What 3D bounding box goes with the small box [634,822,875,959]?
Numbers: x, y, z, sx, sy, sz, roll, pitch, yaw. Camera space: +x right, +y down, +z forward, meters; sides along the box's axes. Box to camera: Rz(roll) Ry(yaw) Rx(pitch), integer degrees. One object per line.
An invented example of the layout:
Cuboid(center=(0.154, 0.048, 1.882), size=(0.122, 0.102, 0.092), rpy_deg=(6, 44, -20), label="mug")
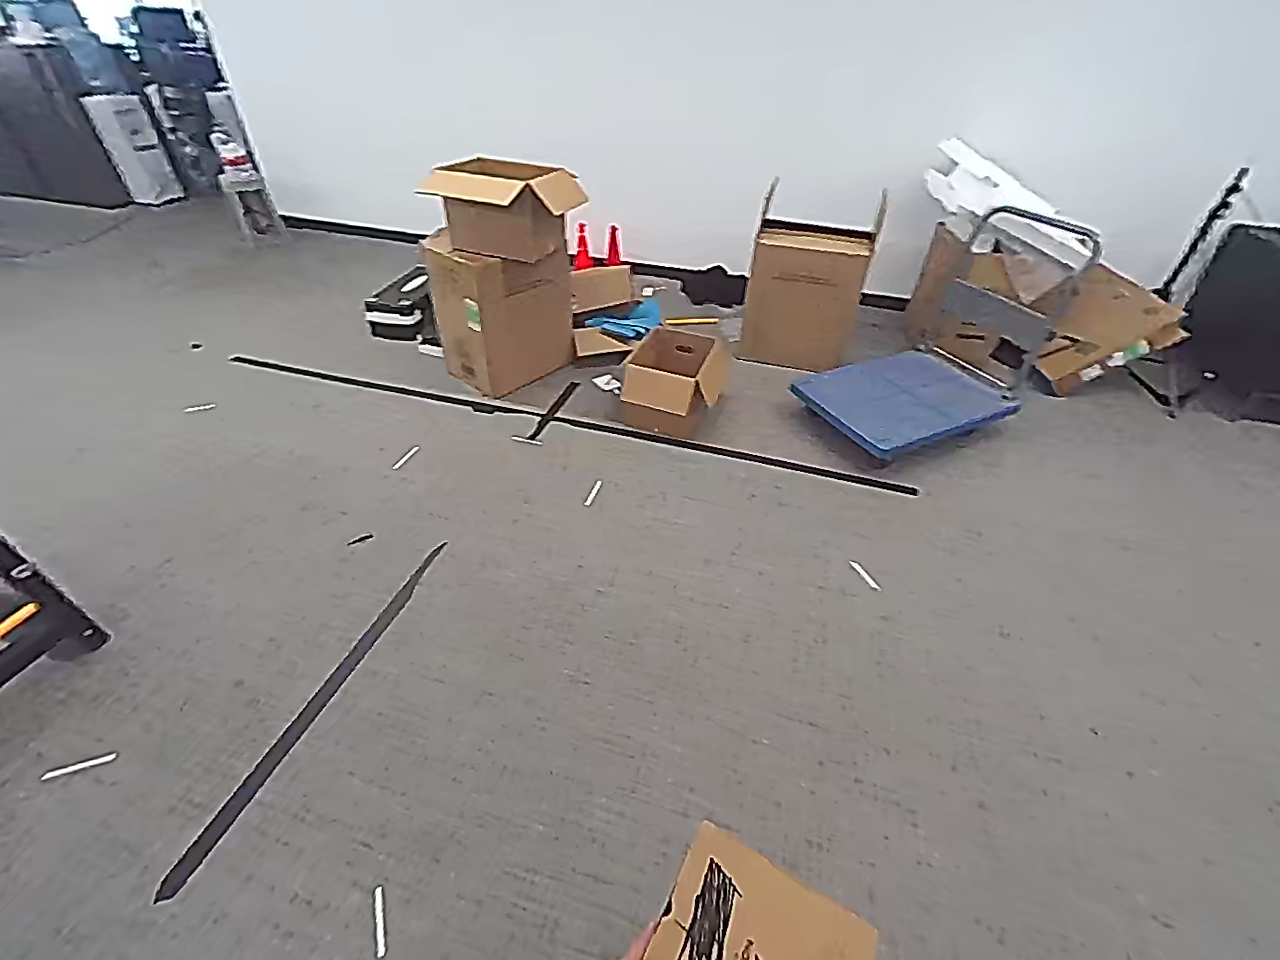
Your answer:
Cuboid(center=(0.097, 0.475, 0.506), size=(0.179, 0.176, 0.168), rpy_deg=(17, 43, 25), label="small box")
